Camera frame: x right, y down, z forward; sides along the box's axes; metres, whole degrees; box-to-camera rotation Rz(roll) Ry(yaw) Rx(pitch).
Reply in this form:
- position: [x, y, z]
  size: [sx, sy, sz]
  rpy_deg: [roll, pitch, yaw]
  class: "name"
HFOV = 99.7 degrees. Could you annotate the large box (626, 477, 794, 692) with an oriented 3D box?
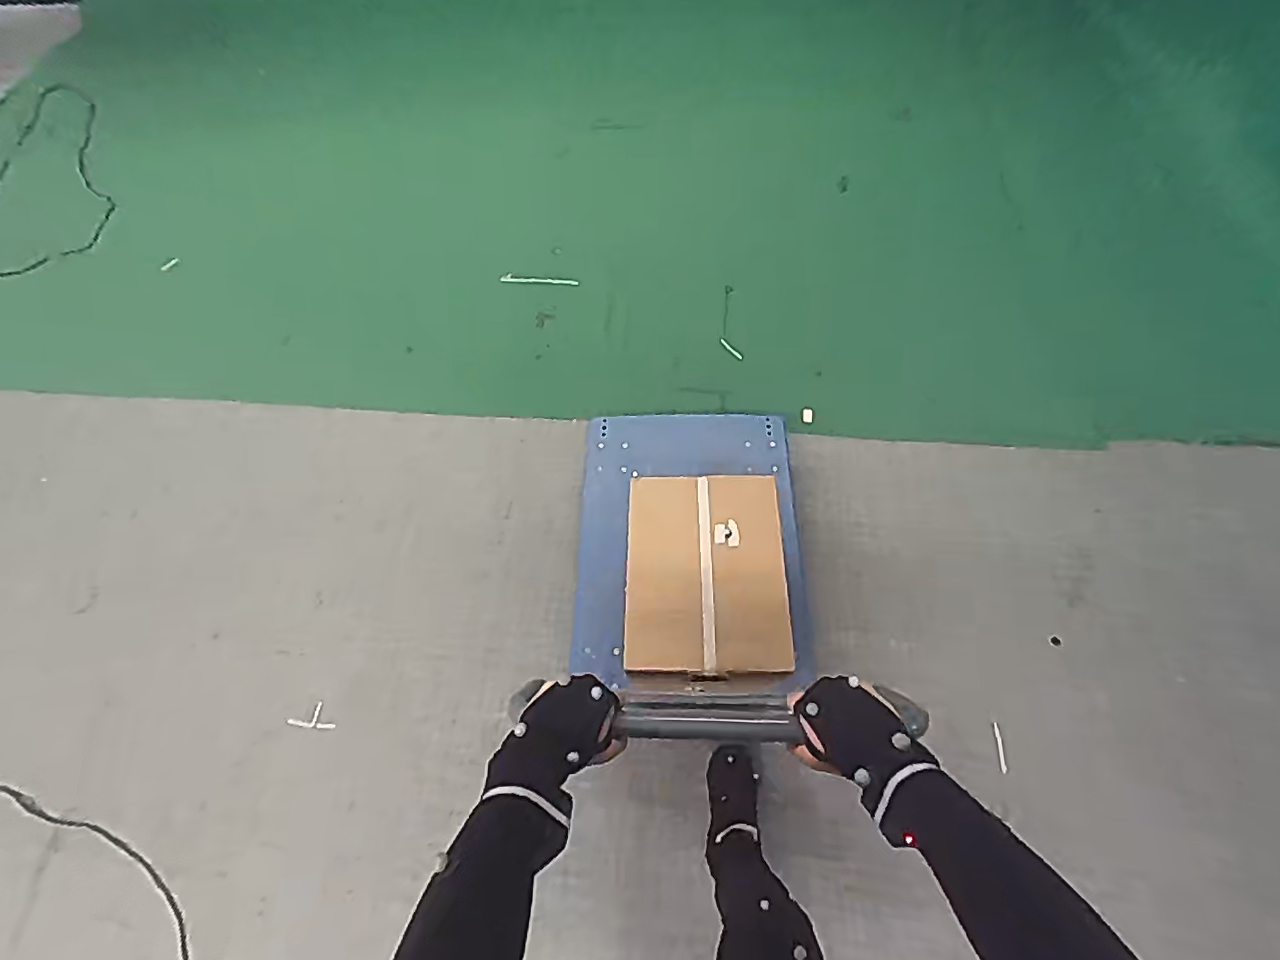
- position: [0.139, 0.242, 1.211]
  size: [0.320, 0.320, 0.408]
  rpy_deg: [0, 61, 3]
  class: "large box"
